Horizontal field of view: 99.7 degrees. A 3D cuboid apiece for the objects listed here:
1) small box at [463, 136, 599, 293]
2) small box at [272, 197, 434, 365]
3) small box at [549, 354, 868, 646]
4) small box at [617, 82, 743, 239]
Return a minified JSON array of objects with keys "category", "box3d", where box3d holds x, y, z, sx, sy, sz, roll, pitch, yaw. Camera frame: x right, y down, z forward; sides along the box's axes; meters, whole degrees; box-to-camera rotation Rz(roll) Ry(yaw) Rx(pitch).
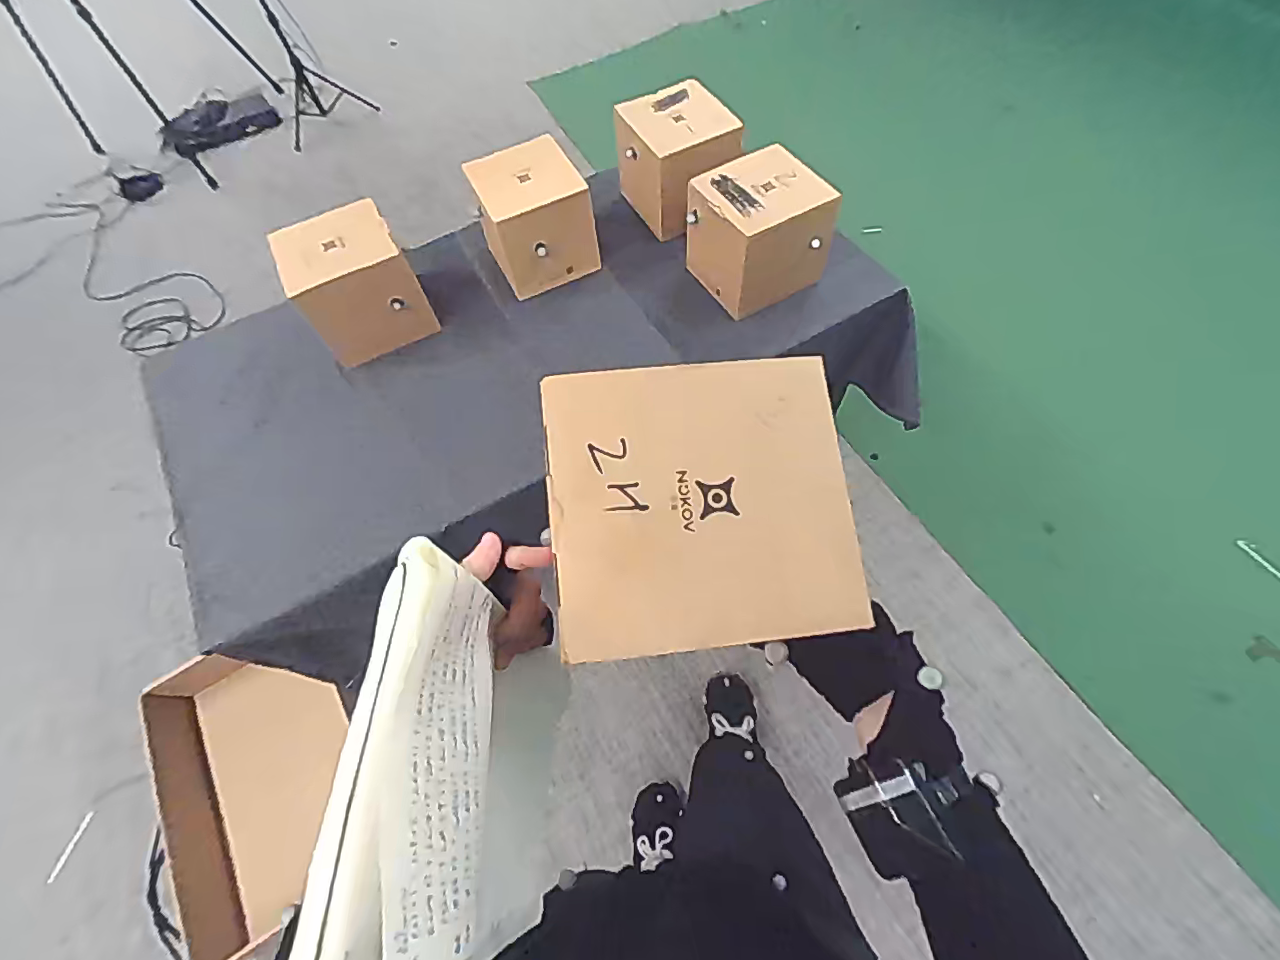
[{"category":"small box","box3d":[-0.185,-0.460,0.961,0.168,0.176,0.179,-26,63,-9]},{"category":"small box","box3d":[-0.468,-0.328,0.908,0.179,0.176,0.168,-26,64,-11]},{"category":"small box","box3d":[0.032,0.023,0.394,0.179,0.176,0.168,-5,76,-4]},{"category":"small box","box3d":[0.070,-0.590,1.009,0.168,0.176,0.179,-26,65,-9]}]
